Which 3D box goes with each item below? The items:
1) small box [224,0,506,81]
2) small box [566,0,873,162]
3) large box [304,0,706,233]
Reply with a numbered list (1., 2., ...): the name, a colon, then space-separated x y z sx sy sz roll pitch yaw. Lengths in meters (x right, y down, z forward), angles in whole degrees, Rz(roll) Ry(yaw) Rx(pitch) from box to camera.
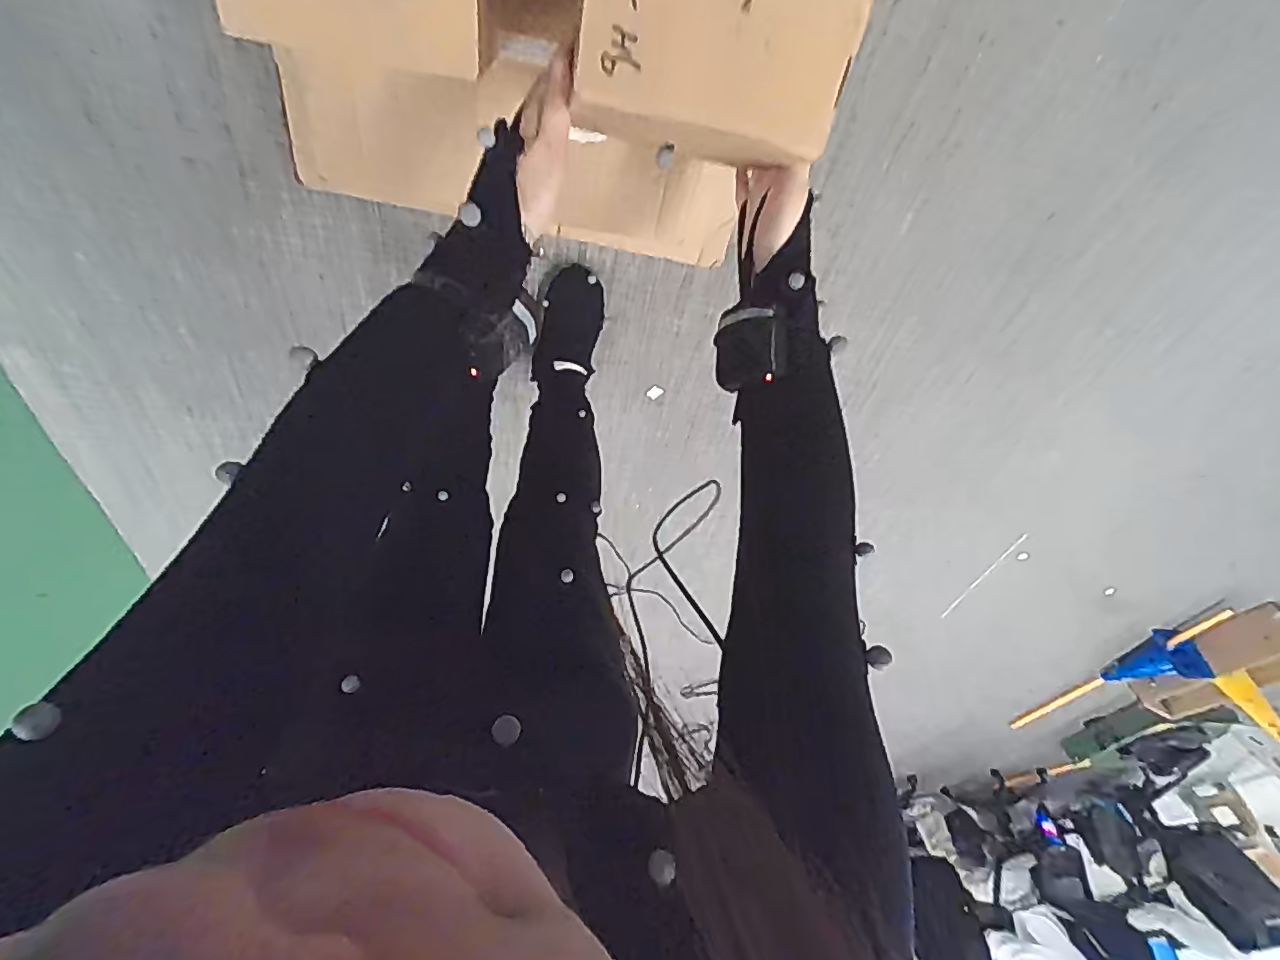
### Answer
1. small box: -0.182 -0.407 0.373 0.168 0.176 0.179 3 133 -10
2. small box: 0.048 -0.341 0.390 0.179 0.176 0.168 5 116 -14
3. large box: -0.127 -0.518 0.615 0.408 0.320 0.320 3 134 -13
